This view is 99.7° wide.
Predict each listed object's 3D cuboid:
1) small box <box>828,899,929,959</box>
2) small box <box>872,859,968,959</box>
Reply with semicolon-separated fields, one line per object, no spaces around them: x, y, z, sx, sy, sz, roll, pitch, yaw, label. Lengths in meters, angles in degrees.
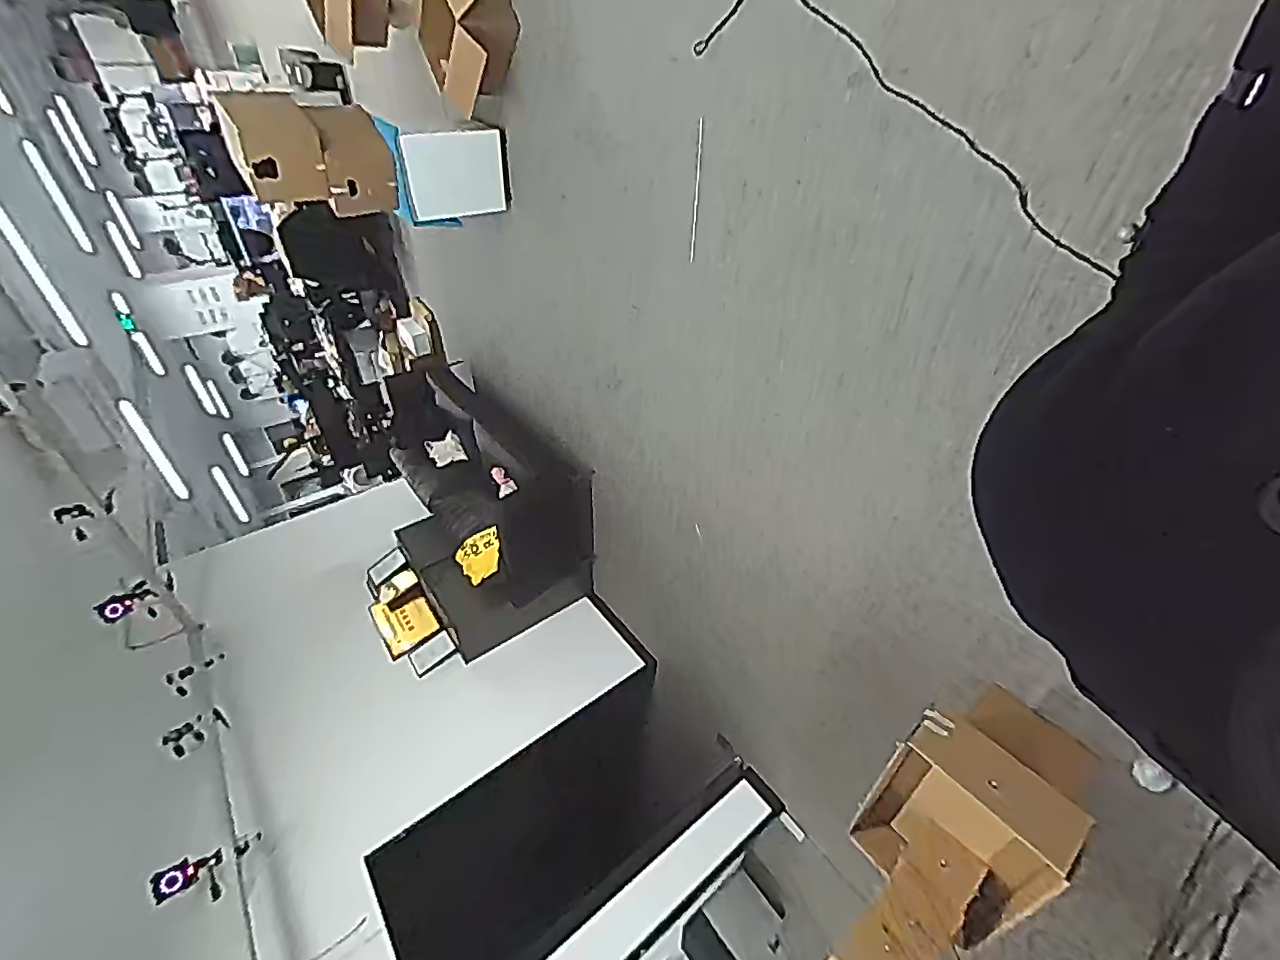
0.615;1.248;1.401;0.168;0.176;0.179;35;138;40;small box
0.748;1.182;1.473;0.179;0.176;0.168;33;137;41;small box
